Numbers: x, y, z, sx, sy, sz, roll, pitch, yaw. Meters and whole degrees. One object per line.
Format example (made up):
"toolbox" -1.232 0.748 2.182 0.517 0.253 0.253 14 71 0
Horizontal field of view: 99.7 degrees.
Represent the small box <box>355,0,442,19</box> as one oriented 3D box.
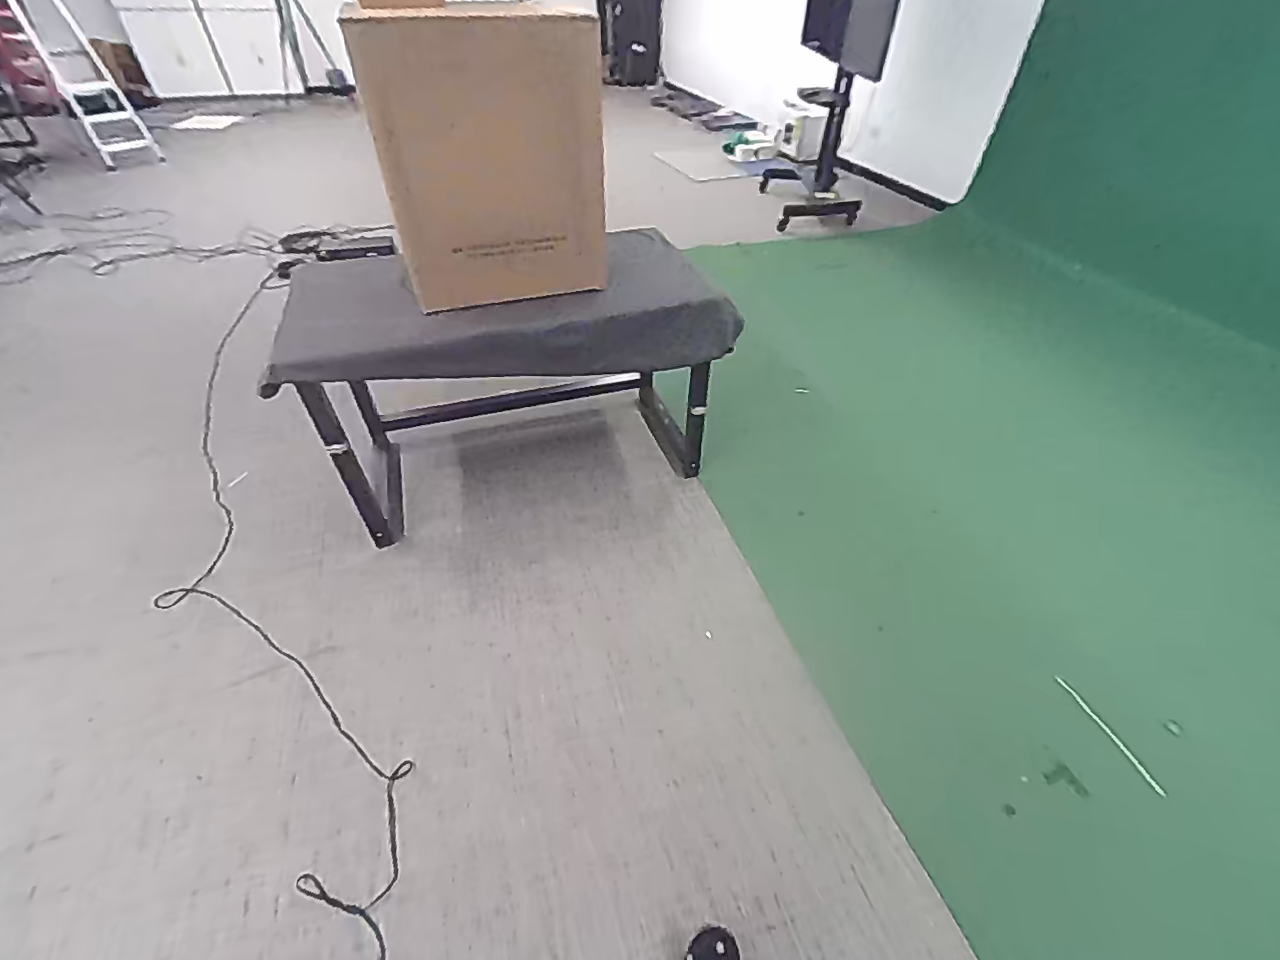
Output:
"small box" -0.524 -1.087 1.128 0.179 0.176 0.168 -17 48 -15
